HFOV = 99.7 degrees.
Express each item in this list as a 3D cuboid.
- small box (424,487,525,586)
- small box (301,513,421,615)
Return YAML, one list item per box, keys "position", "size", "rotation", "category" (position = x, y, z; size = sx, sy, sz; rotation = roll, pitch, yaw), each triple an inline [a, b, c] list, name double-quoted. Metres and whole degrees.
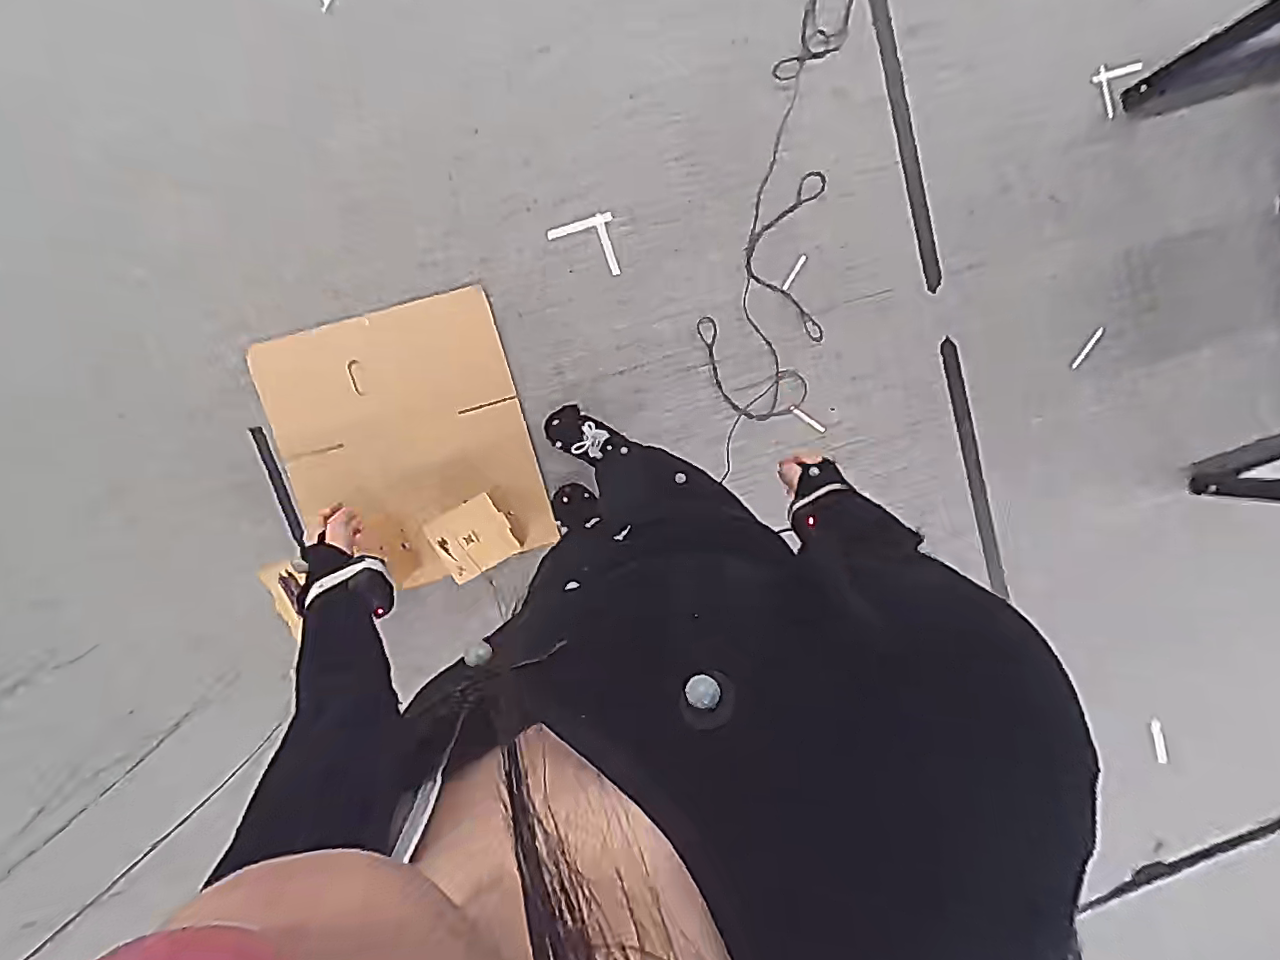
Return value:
- position: [-0.397, 0.131, 1.342]
  size: [0.179, 0.176, 0.168]
  rotation: [-30, 98, -3]
  category: "small box"
- position: [-0.670, 0.198, 1.322]
  size: [0.179, 0.176, 0.168]
  rotation: [-26, 98, -3]
  category: "small box"
